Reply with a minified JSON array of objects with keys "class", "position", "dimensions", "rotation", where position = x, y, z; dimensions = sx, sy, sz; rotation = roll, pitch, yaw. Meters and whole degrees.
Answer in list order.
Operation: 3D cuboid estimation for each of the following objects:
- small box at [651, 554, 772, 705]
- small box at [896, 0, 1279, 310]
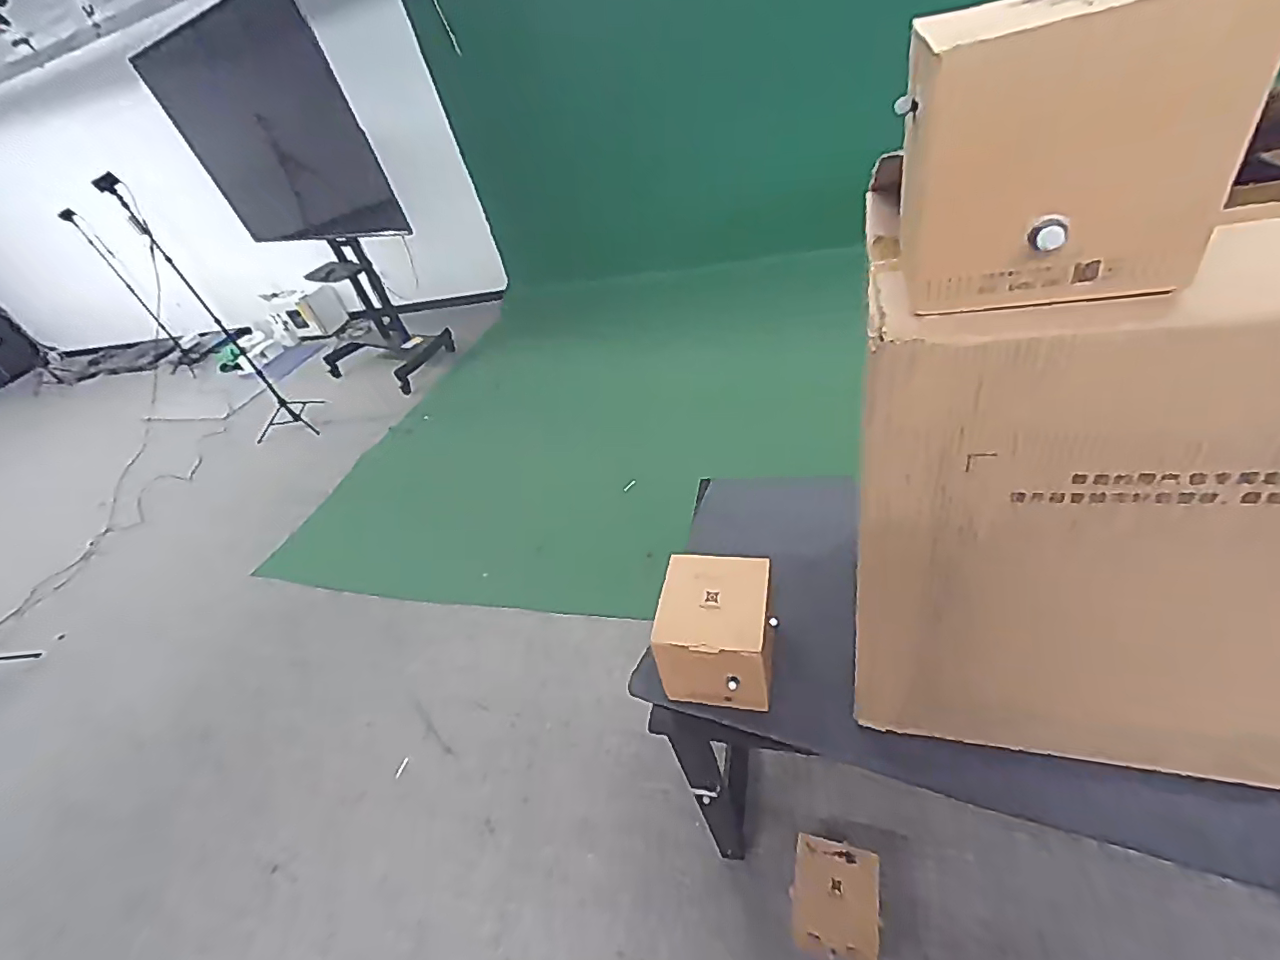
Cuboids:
[{"class":"small box","position":[0.127,0.245,0.891],"dimensions":[0.168,0.176,0.179],"rotation":[0,39,17]},{"class":"small box","position":[0.290,-0.247,0.406],"dimensions":[0.168,0.176,0.179],"rotation":[0,42,21]}]
